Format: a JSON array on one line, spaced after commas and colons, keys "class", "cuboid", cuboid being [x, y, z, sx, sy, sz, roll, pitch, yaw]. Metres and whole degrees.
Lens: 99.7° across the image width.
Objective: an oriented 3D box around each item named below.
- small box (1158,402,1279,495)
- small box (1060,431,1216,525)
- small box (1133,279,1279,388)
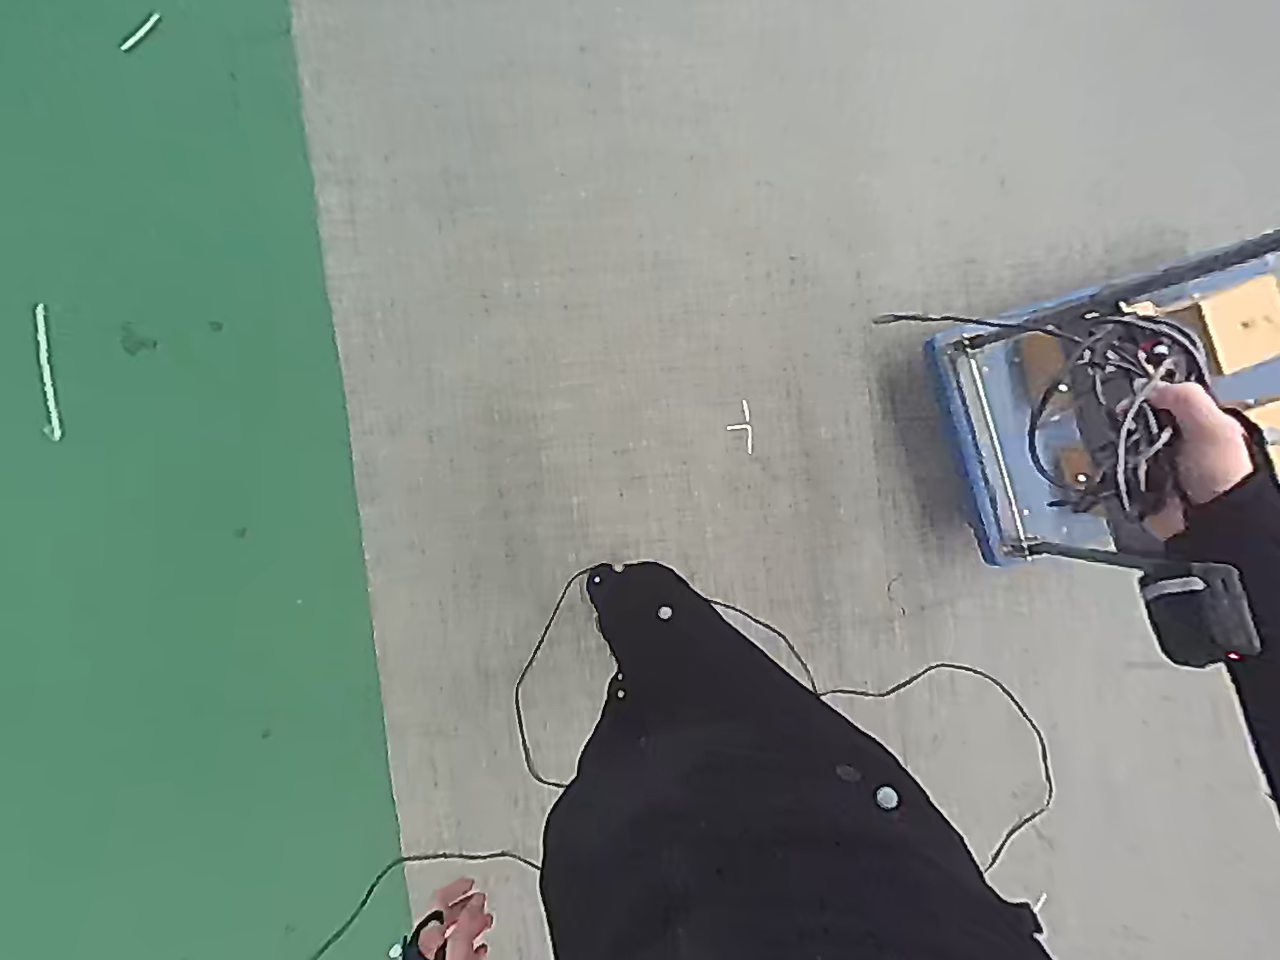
[{"class": "small box", "cuboid": [1.333, -0.072, 1.212, 0.179, 0.176, 0.168, -18, 91, -2]}, {"class": "small box", "cuboid": [1.093, -0.006, 1.198, 0.179, 0.176, 0.168, -15, 91, -3]}, {"class": "small box", "cuboid": [1.258, -0.315, 1.204, 0.179, 0.176, 0.168, -21, 93, -3]}]
